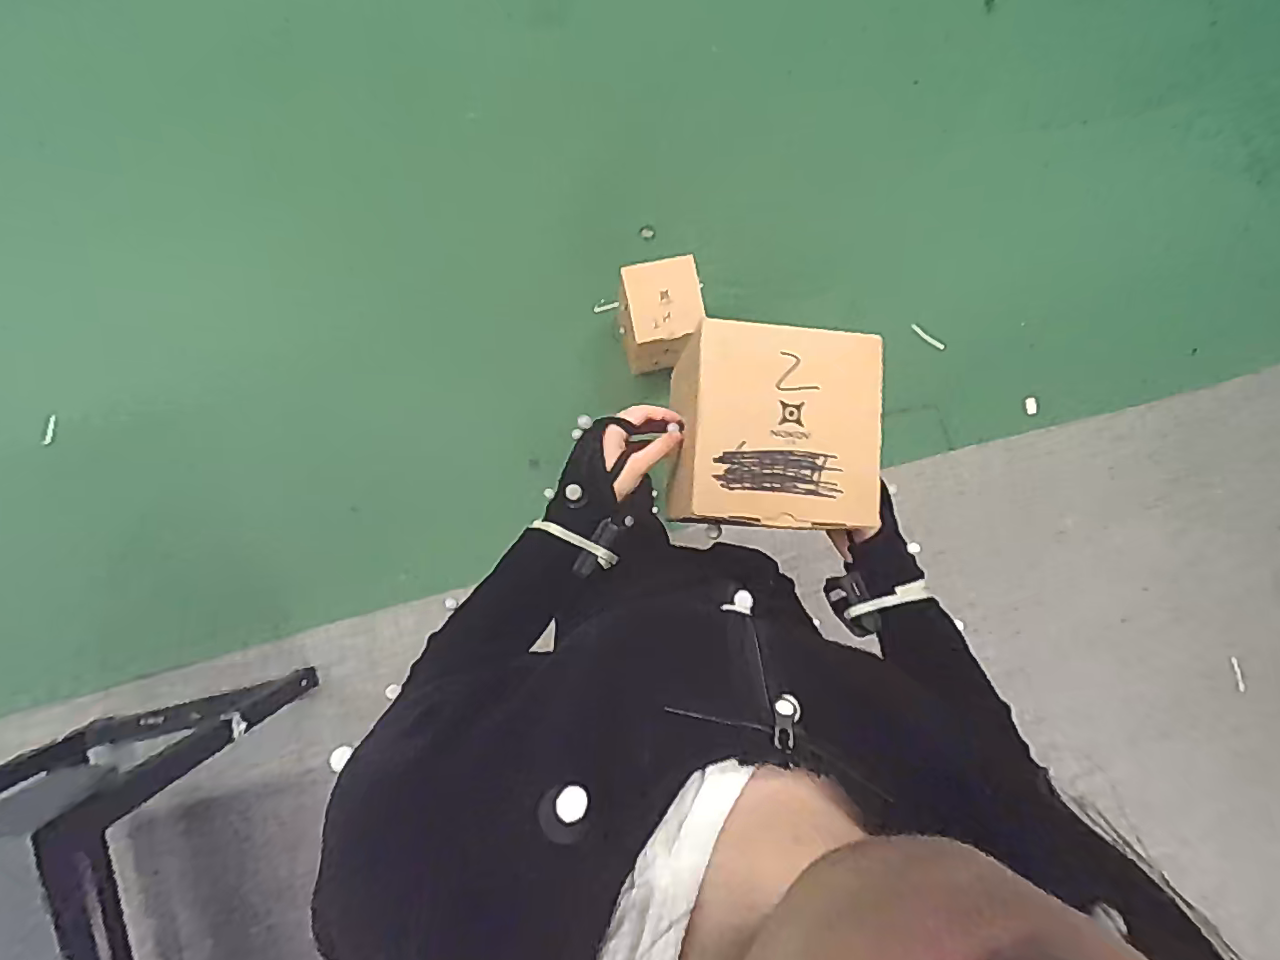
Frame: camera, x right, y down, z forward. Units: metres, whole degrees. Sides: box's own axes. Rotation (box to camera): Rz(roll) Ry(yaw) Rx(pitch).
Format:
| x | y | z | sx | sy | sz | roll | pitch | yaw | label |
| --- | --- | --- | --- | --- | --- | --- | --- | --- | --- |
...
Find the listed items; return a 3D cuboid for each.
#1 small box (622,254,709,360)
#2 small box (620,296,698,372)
| x | y | z | sx | sy | sz | roll | pitch | yaw | label |
| --- | --- | --- | --- | --- | --- | --- | --- | --- | --- |
| 0.053 | -0.400 | 1.273 | 0.168 | 0.176 | 0.179 | -12 | 89 | -3 | small box |
| 0.046 | -0.397 | 1.439 | 0.168 | 0.176 | 0.179 | -14 | 89 | -3 | small box |
